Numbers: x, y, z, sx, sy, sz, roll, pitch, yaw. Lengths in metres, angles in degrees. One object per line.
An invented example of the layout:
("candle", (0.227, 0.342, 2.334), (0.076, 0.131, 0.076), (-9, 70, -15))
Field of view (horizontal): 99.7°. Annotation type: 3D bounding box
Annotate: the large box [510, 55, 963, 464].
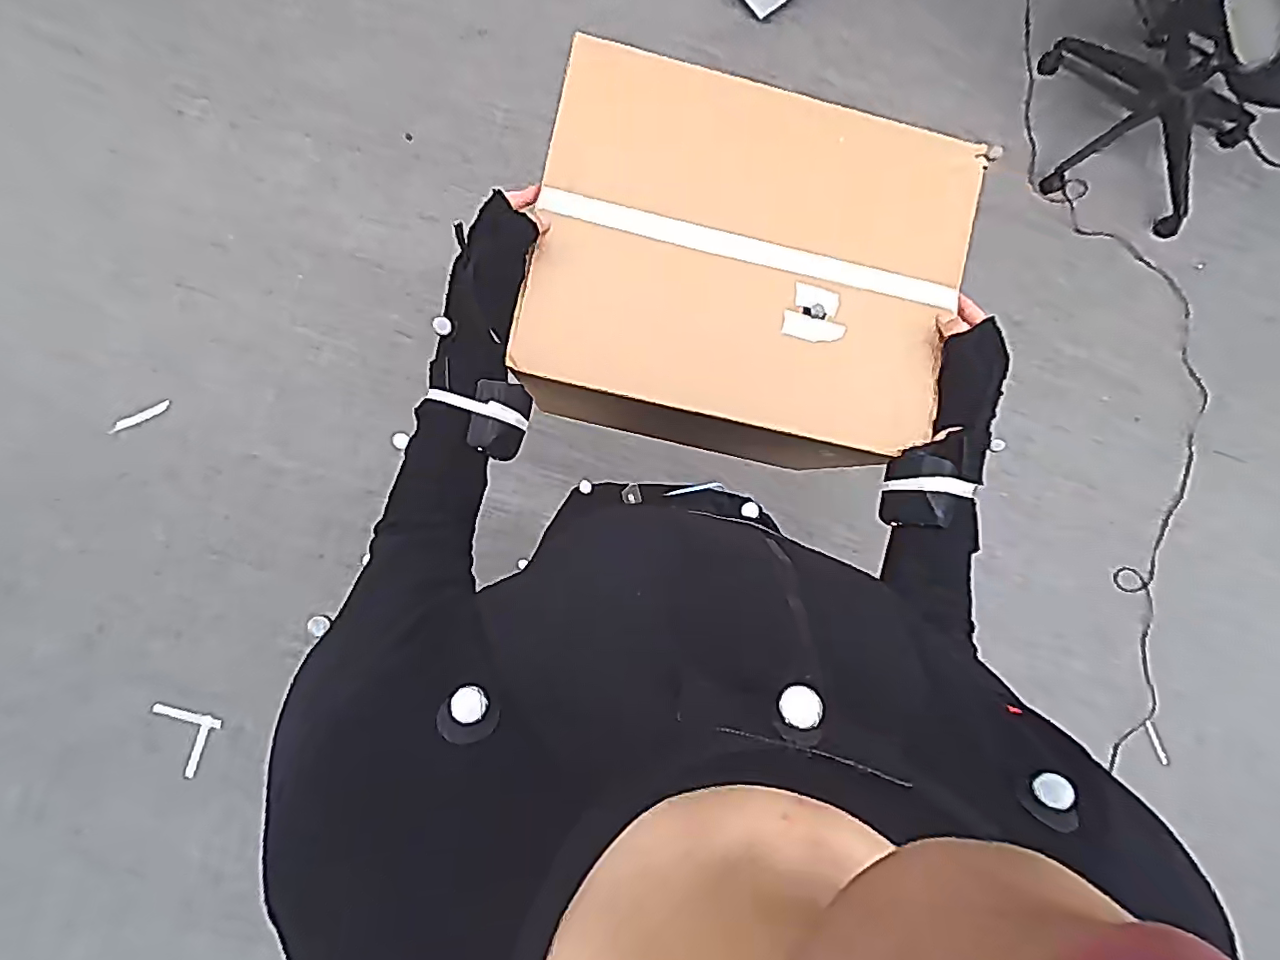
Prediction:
("large box", (0.085, -0.209, 0.664), (0.408, 0.320, 0.320), (12, 90, -6))
